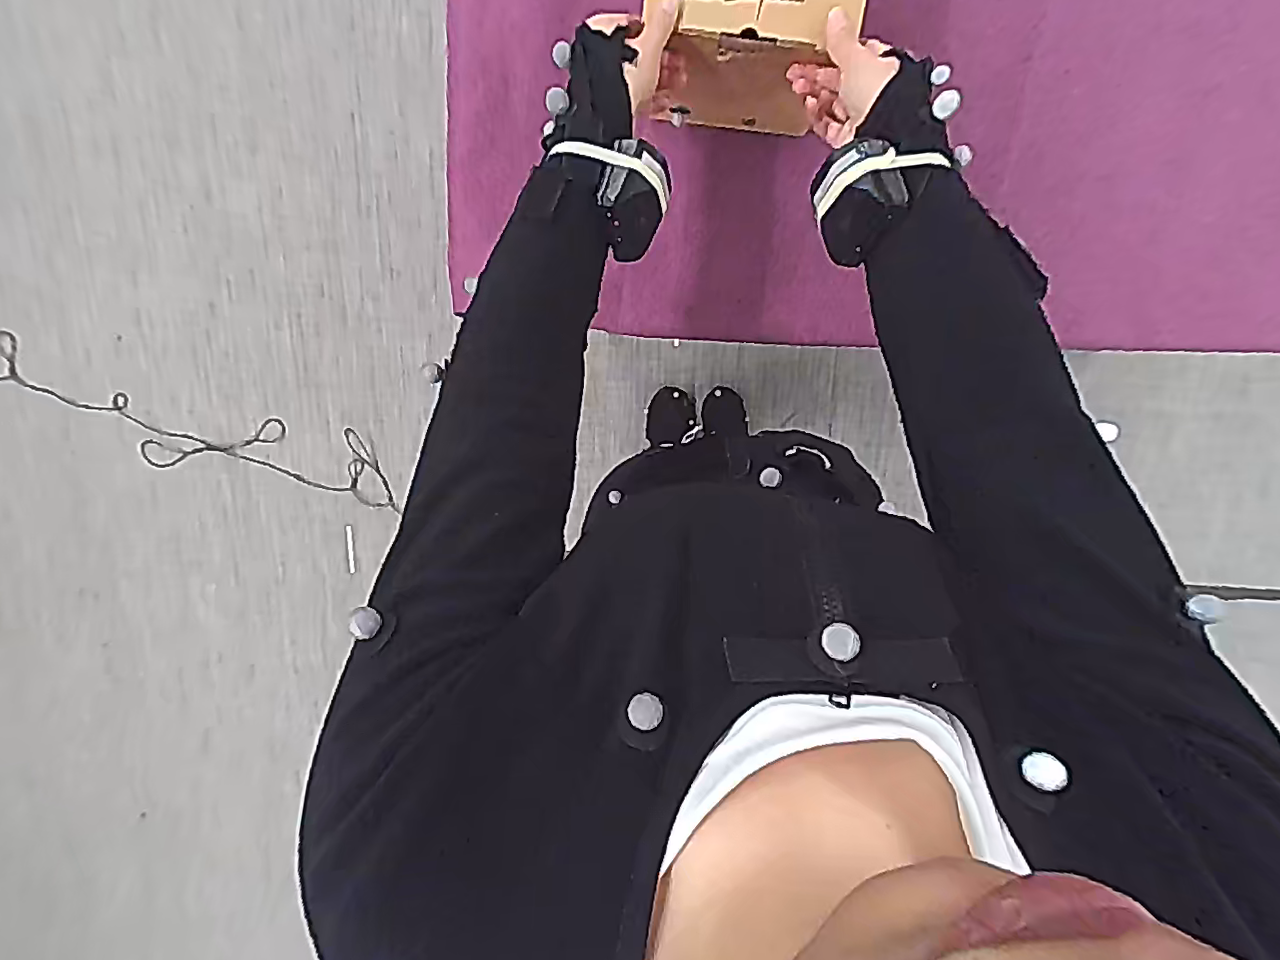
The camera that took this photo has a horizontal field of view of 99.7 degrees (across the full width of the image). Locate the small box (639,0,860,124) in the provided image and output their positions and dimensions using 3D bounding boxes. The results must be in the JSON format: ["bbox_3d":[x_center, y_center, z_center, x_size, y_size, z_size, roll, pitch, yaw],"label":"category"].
[{"bbox_3d":[0.095,-0.440,0.466,0.168,0.176,0.179,7,103,1],"label":"small box"}]
